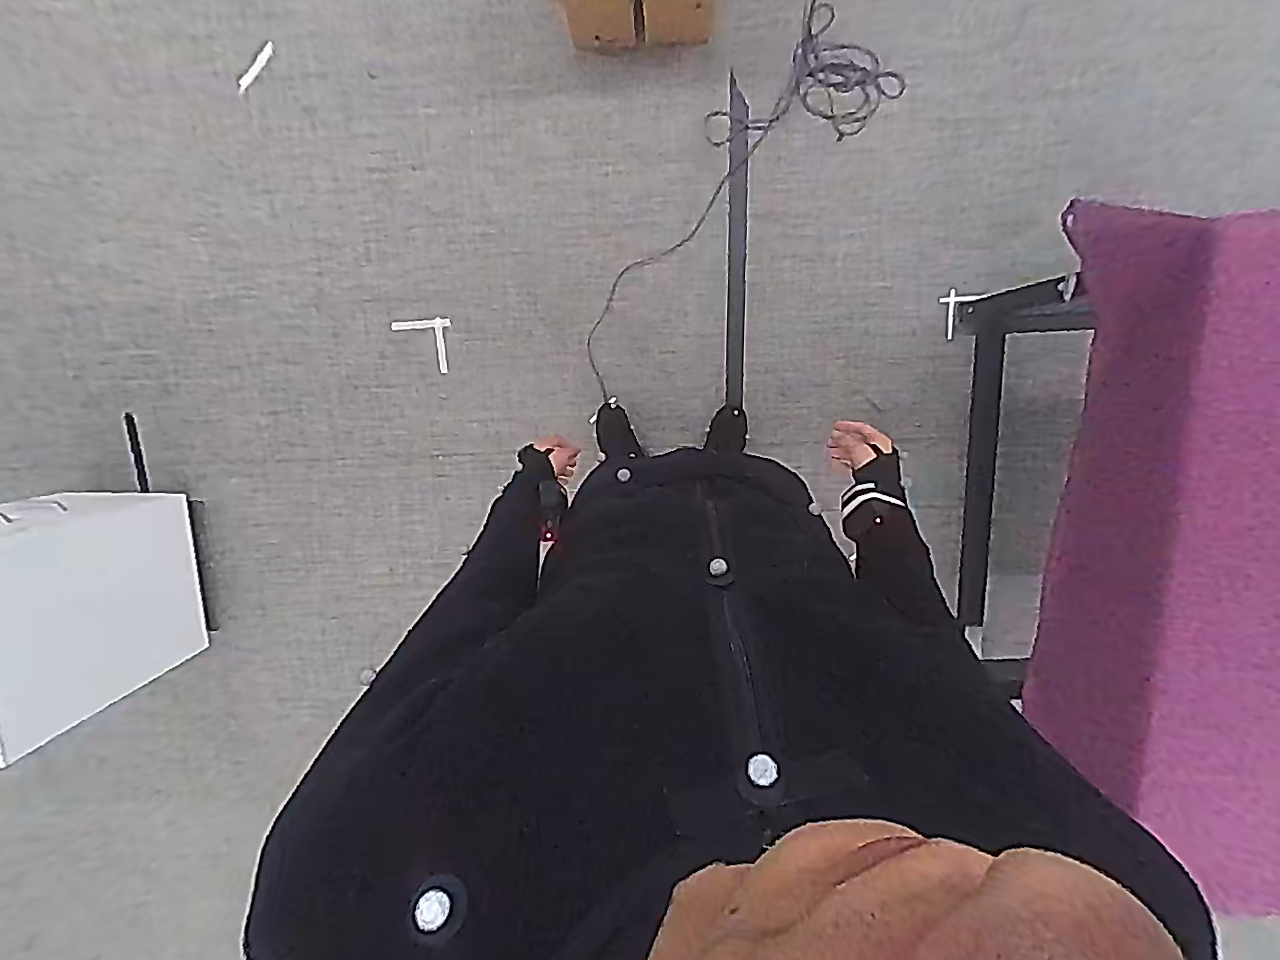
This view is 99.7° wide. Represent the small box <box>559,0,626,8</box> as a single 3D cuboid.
[{"bbox_3d":[-0.105,-1.170,1.171,0.179,0.176,0.168,4,100,5],"label":"small box"}]
